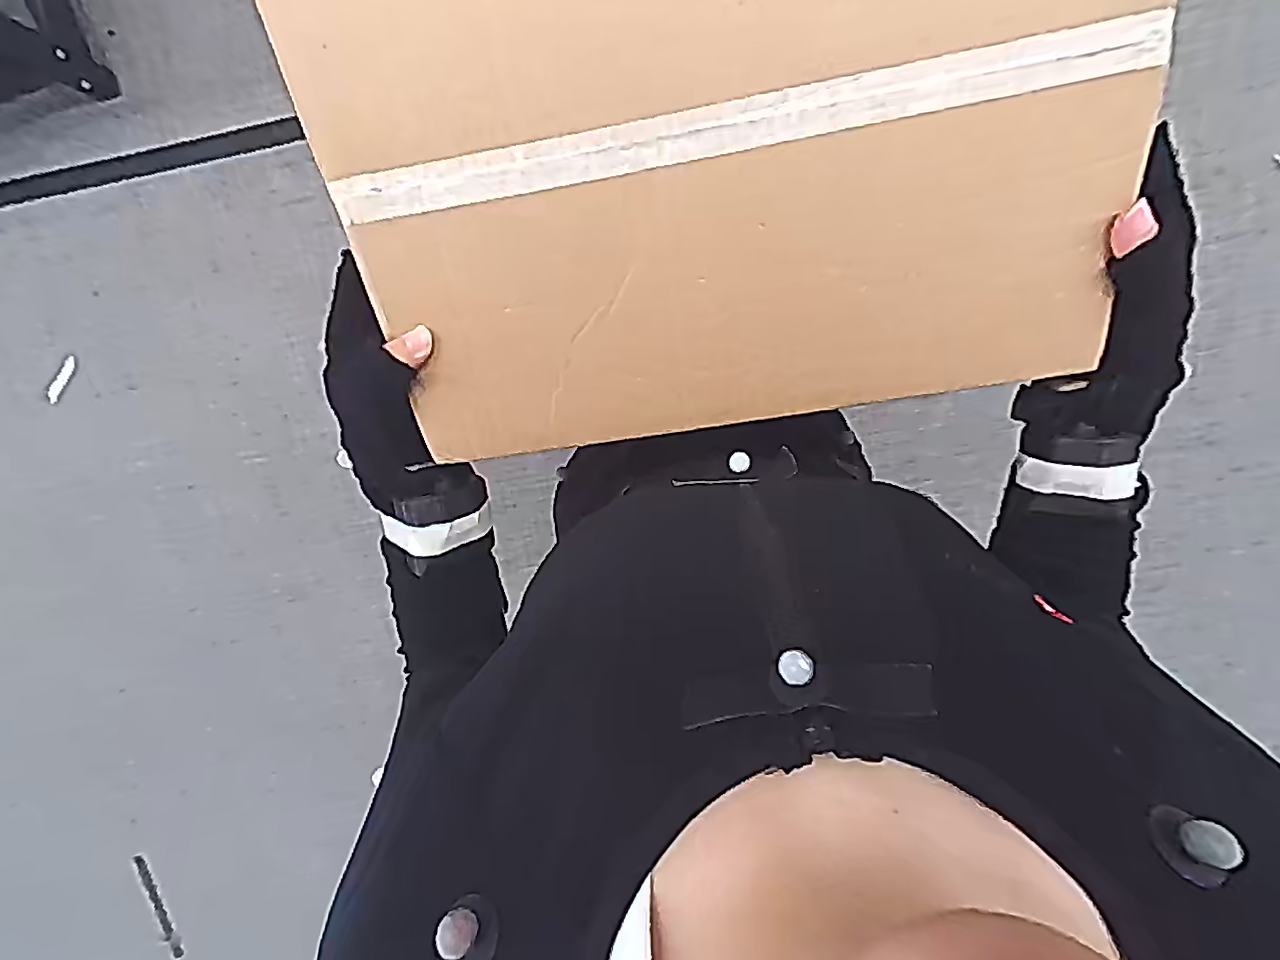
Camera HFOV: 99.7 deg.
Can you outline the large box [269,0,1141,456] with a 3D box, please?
[{"bbox_3d":[0.039,-0.247,0.406,0.408,0.320,0.320,-8,117,5],"label":"large box"}]
